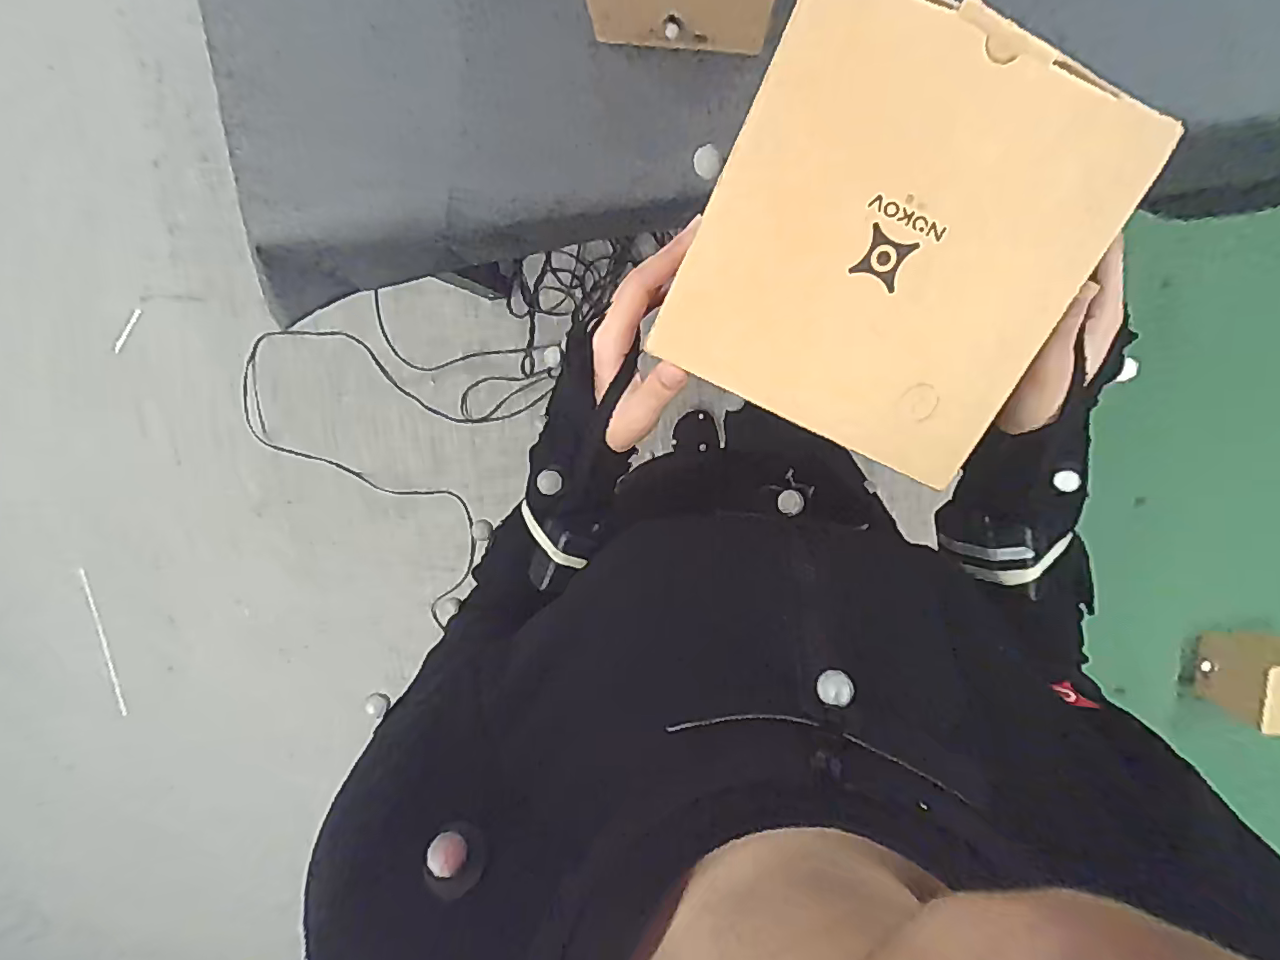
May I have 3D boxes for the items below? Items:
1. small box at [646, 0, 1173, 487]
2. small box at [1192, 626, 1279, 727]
[{"bbox_3d":[0.120,-0.125,0.320,0.168,0.176,0.179,26,106,-2],"label":"small box"},{"bbox_3d":[1.469,0.453,1.265,0.179,0.176,0.168,-4,99,5],"label":"small box"}]
